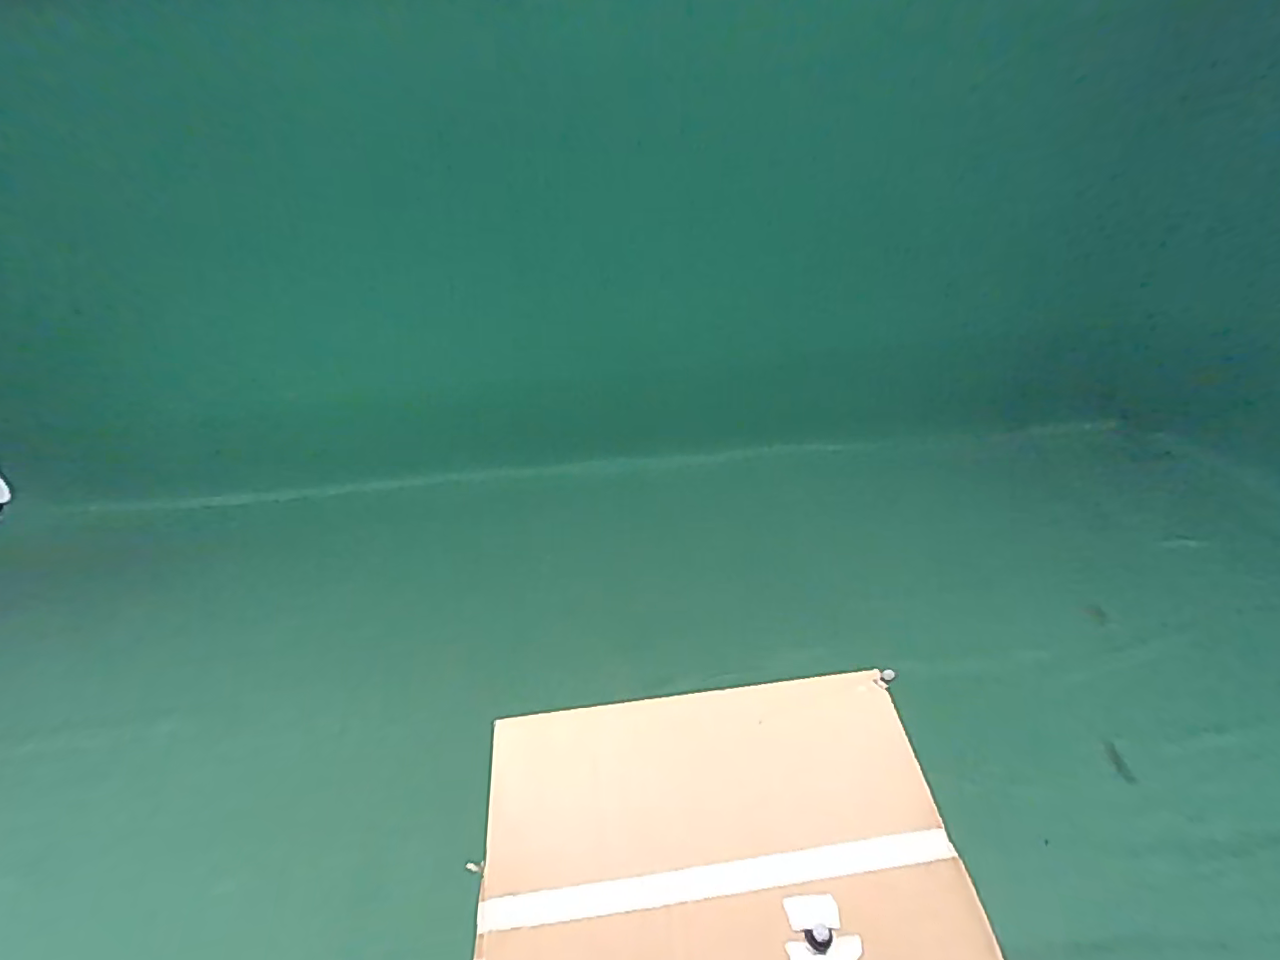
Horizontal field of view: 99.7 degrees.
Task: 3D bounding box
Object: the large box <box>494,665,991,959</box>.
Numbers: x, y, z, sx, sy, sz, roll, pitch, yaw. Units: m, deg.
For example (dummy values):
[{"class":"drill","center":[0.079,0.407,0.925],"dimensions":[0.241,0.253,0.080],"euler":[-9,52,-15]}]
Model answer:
[{"class":"large box","center":[0.074,0.436,0.585],"dimensions":[0.408,0.320,0.320],"euler":[-7,50,-4]}]
